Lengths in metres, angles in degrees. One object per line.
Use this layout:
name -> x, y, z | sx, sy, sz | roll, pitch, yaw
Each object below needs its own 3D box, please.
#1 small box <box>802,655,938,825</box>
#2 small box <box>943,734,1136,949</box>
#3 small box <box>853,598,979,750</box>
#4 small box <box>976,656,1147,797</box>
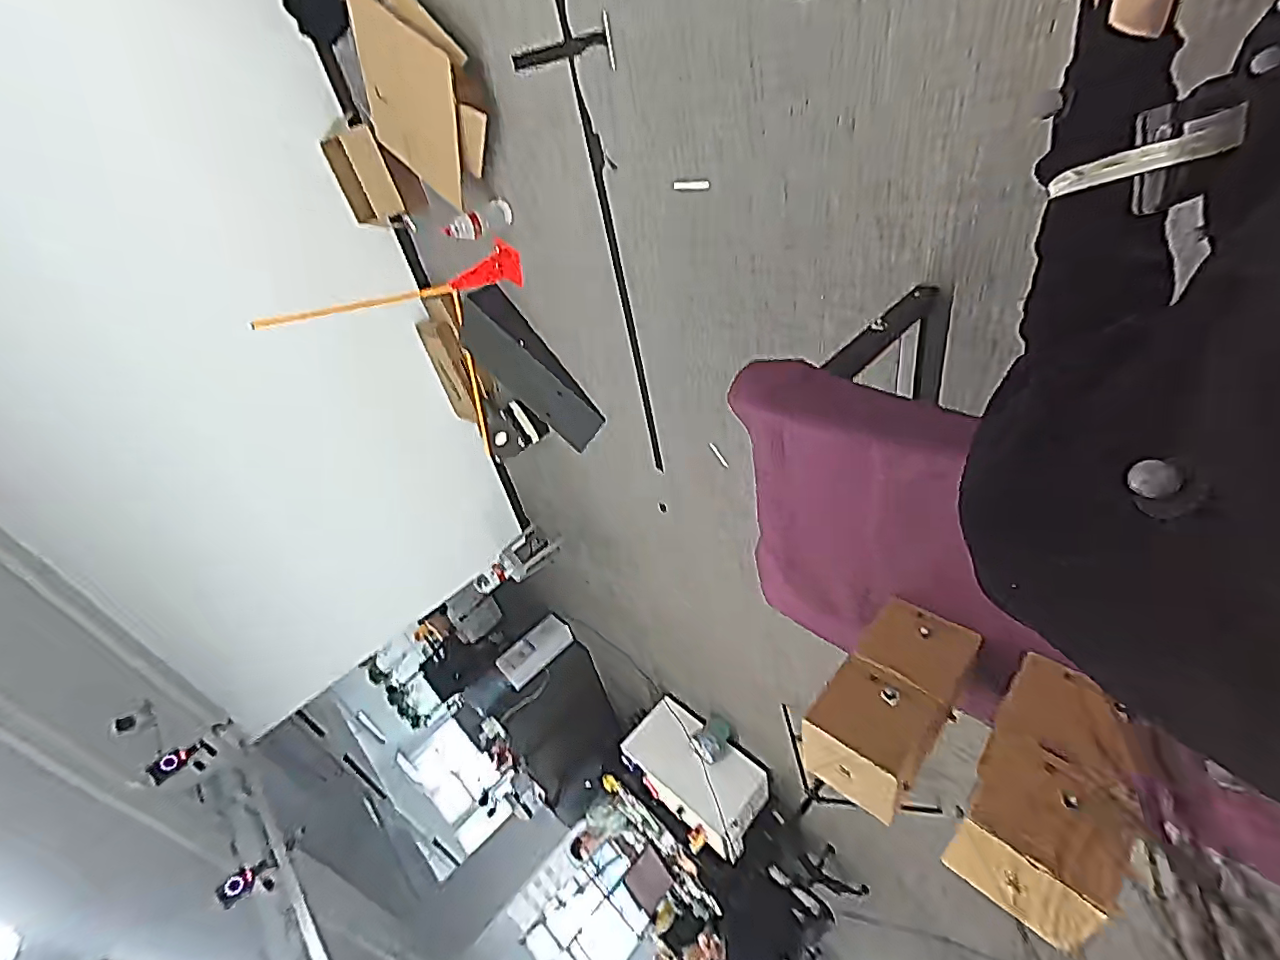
small box -> 0.406, 0.452, 0.960 | 0.168, 0.176, 0.179 | 22, 137, 40
small box -> 0.579, 0.518, 0.791 | 0.168, 0.176, 0.179 | 27, 140, 38
small box -> 0.521, 0.364, 1.035 | 0.168, 0.176, 0.179 | 24, 139, 38
small box -> 0.680, 0.423, 0.877 | 0.168, 0.176, 0.179 | 25, 140, 39
